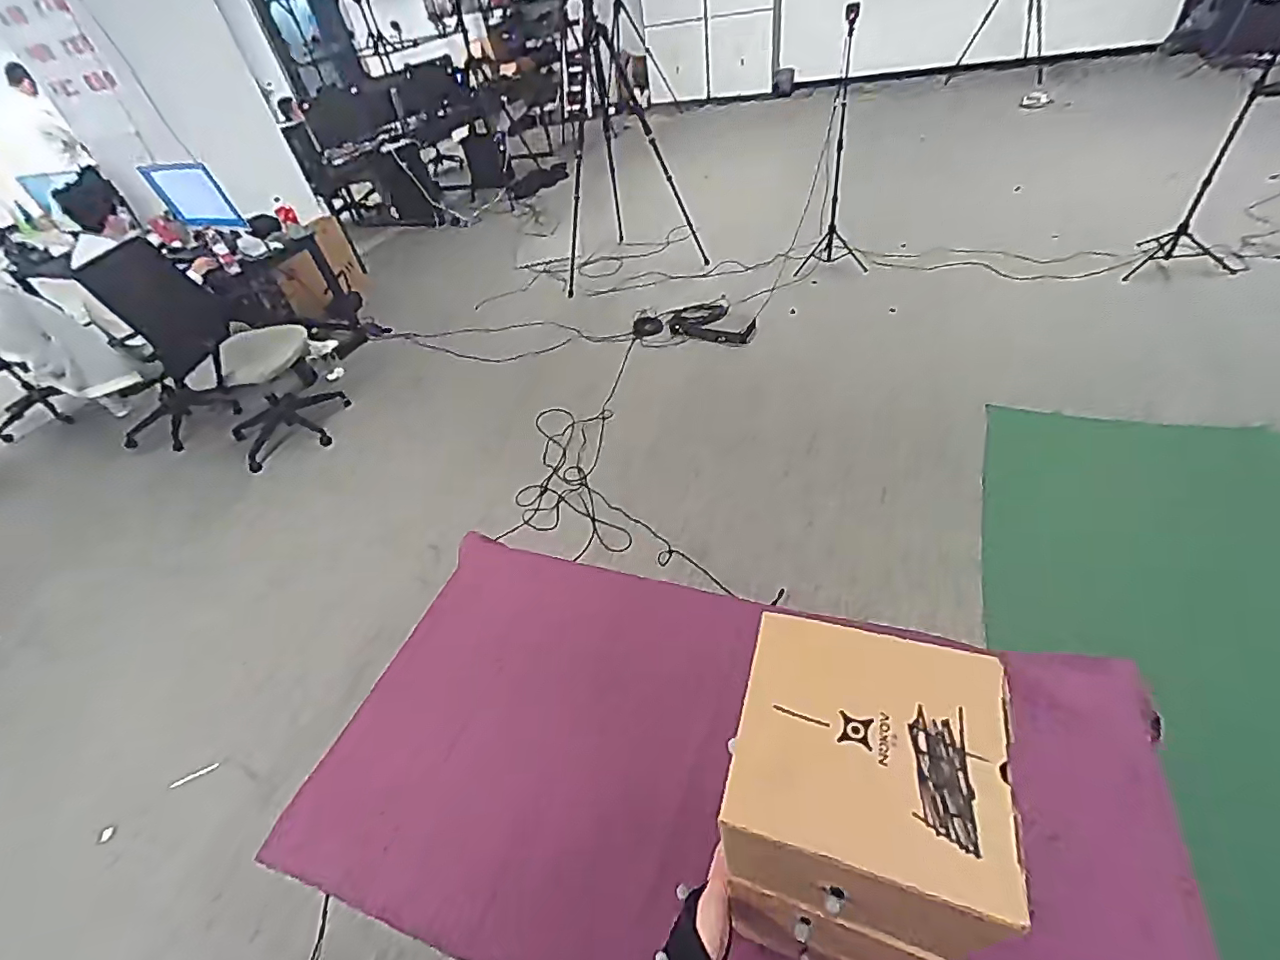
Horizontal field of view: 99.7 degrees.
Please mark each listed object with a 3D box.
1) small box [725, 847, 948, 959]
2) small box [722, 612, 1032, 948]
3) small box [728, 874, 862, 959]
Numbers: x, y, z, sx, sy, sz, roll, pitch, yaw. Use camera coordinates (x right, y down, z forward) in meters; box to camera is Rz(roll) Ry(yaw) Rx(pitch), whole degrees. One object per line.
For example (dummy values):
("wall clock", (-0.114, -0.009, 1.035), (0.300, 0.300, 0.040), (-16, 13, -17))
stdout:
("small box", (0.194, 0.352, 0.541), (0.179, 0.176, 0.168), (9, 48, 21))
("small box", (0.172, 0.234, 0.428), (0.179, 0.176, 0.168), (8, 47, 20))
("small box", (0.216, 0.469, 0.653), (0.179, 0.176, 0.168), (11, 48, 22))
